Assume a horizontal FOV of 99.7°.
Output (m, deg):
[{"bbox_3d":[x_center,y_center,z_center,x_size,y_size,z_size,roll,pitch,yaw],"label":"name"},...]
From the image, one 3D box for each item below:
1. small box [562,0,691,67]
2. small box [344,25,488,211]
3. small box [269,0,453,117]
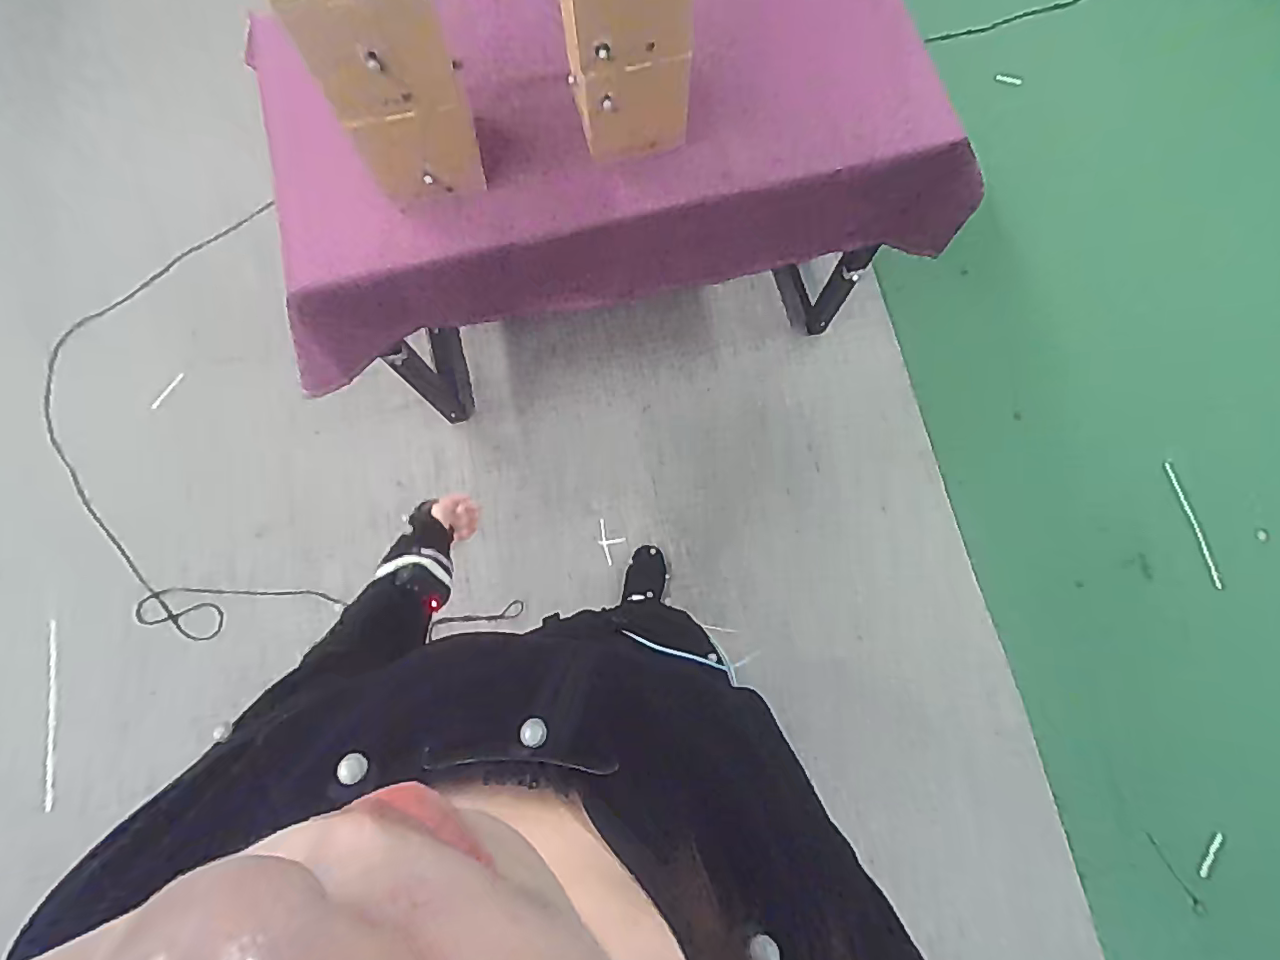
[{"bbox_3d":[-0.026,-0.705,0.736,0.168,0.176,0.179,-14,75,-3],"label":"small box"},{"bbox_3d":[-0.360,-0.577,0.876,0.168,0.176,0.179,-13,77,-2],"label":"small box"},{"bbox_3d":[-0.362,-0.619,0.717,0.168,0.176,0.179,-13,77,-3],"label":"small box"}]
